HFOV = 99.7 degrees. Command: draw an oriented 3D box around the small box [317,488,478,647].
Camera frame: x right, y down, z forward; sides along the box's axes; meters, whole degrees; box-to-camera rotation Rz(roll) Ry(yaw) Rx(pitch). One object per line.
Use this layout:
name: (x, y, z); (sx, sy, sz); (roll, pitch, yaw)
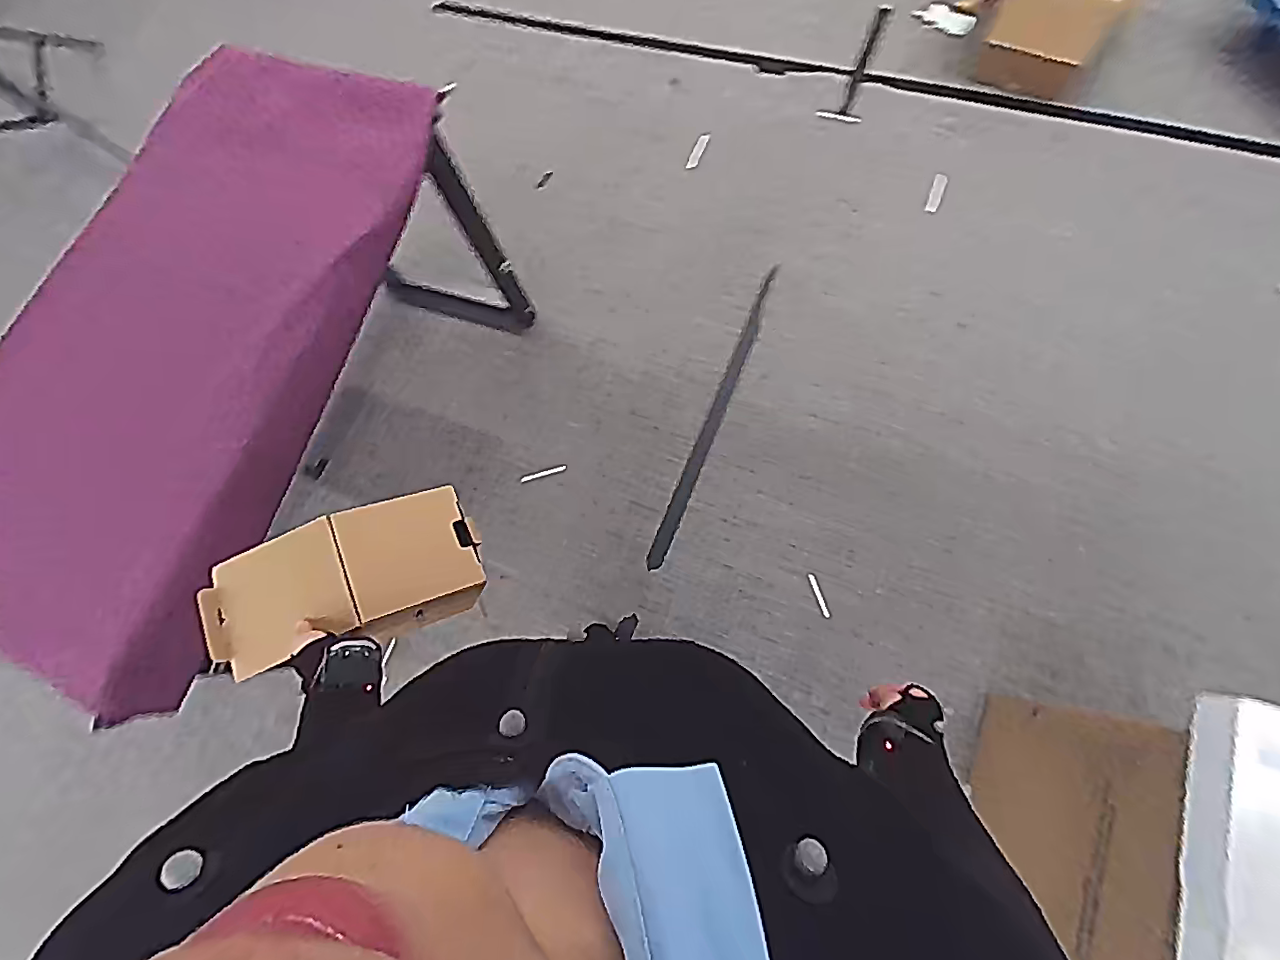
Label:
small box: (-0.366, 0.137, 0.825); (0.179, 0.176, 0.168); (-17, 73, -31)
